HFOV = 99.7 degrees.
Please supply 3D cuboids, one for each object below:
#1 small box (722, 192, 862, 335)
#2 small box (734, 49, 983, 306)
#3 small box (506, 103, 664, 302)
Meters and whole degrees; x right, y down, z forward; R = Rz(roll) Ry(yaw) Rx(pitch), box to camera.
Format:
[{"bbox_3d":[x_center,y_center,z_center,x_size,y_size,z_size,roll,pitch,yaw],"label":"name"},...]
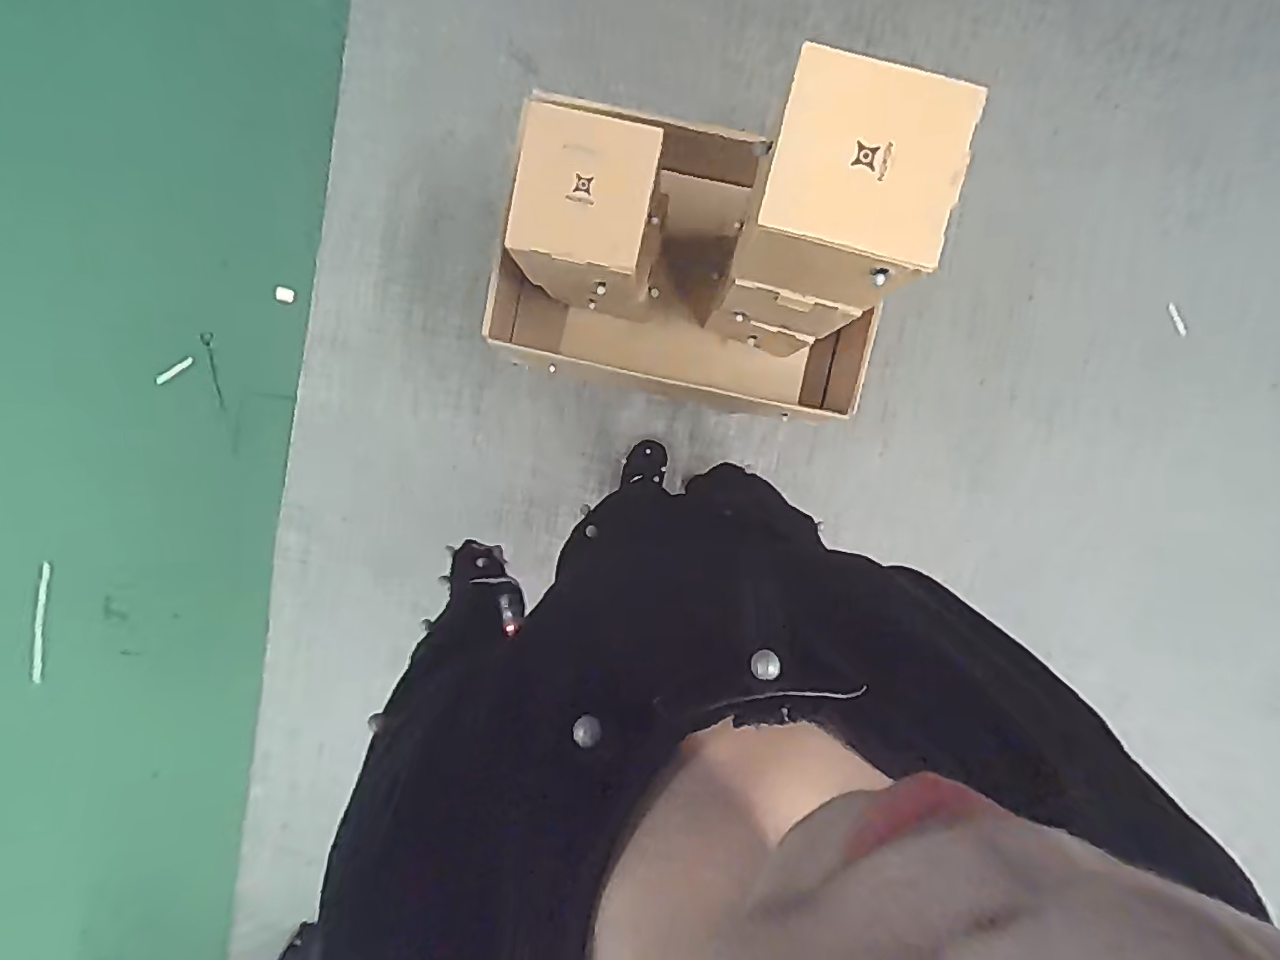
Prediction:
[{"bbox_3d":[0.216,-0.312,0.741,0.168,0.176,0.179,15,94,-1],"label":"small box"},{"bbox_3d":[0.211,-0.300,0.578,0.179,0.176,0.168,14,95,-1],"label":"small box"},{"bbox_3d":[-0.067,-0.360,0.738,0.168,0.176,0.179,13,95,-1],"label":"small box"}]
